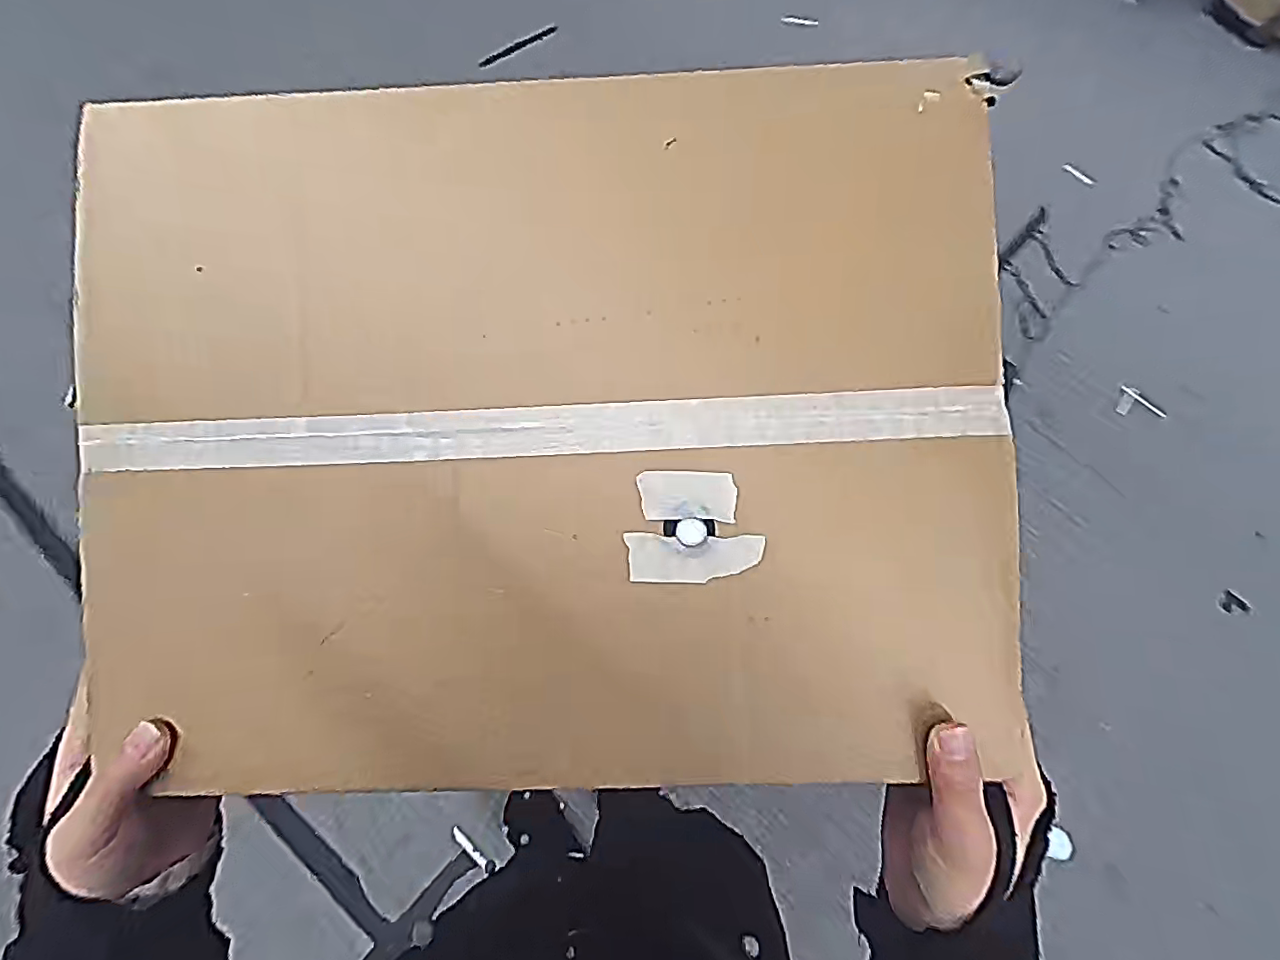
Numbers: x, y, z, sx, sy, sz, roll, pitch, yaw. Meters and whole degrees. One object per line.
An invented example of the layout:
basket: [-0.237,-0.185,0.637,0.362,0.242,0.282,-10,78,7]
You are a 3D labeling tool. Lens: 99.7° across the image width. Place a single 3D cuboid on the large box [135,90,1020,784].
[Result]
large box: [-0.031,-0.016,0.396,0.408,0.320,0.320,-1,89,1]
